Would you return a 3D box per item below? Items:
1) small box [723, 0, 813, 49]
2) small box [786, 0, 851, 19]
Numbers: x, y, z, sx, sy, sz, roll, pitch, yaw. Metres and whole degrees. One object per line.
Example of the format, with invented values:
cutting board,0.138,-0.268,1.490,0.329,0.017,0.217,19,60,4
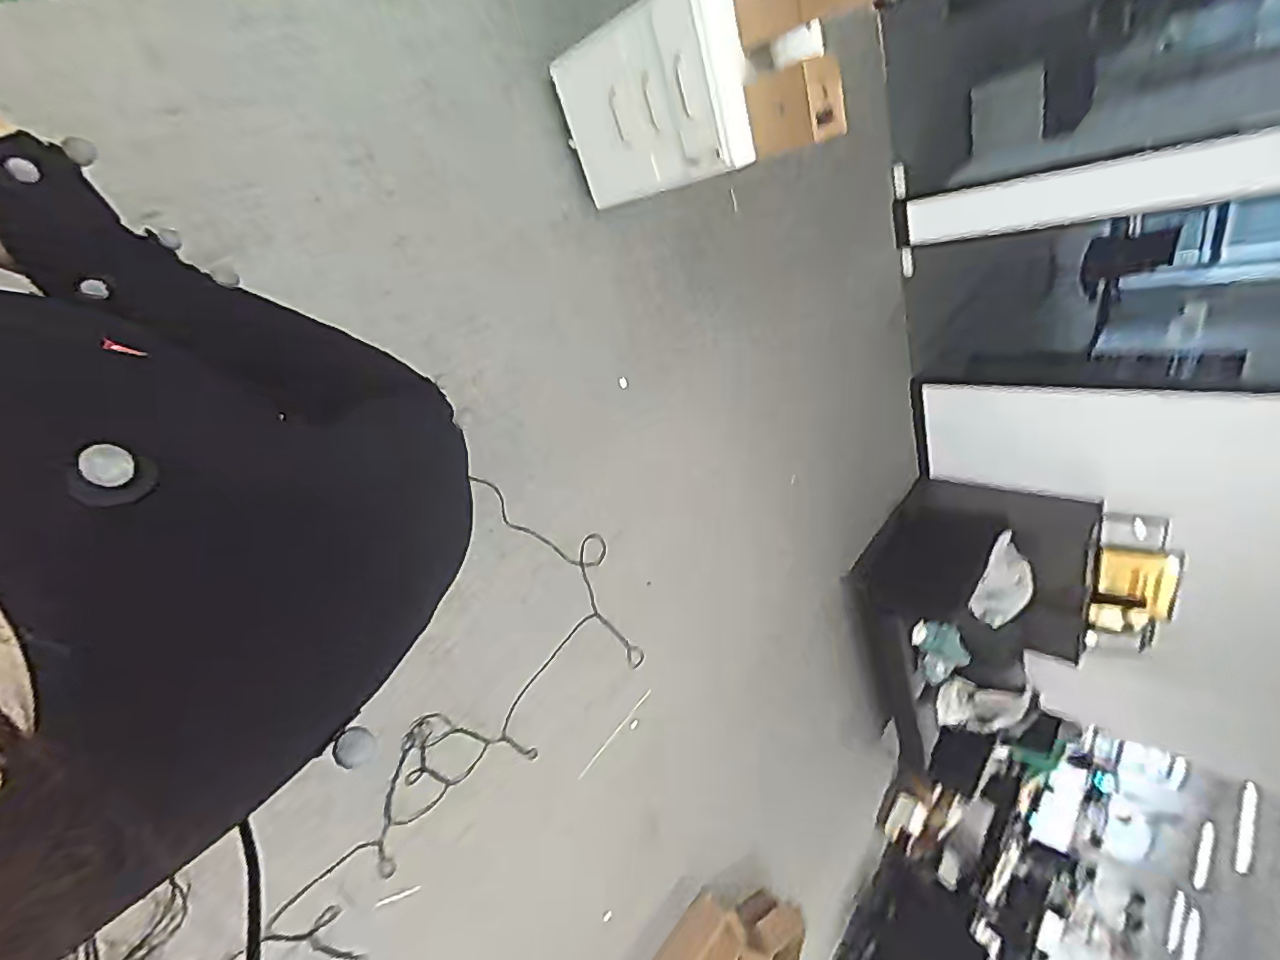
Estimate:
small box,0.298,-1.145,1.251,0.168,0.176,0.179,-42,126,-30
small box,0.411,-1.116,1.136,0.168,0.176,0.179,-41,127,-32
